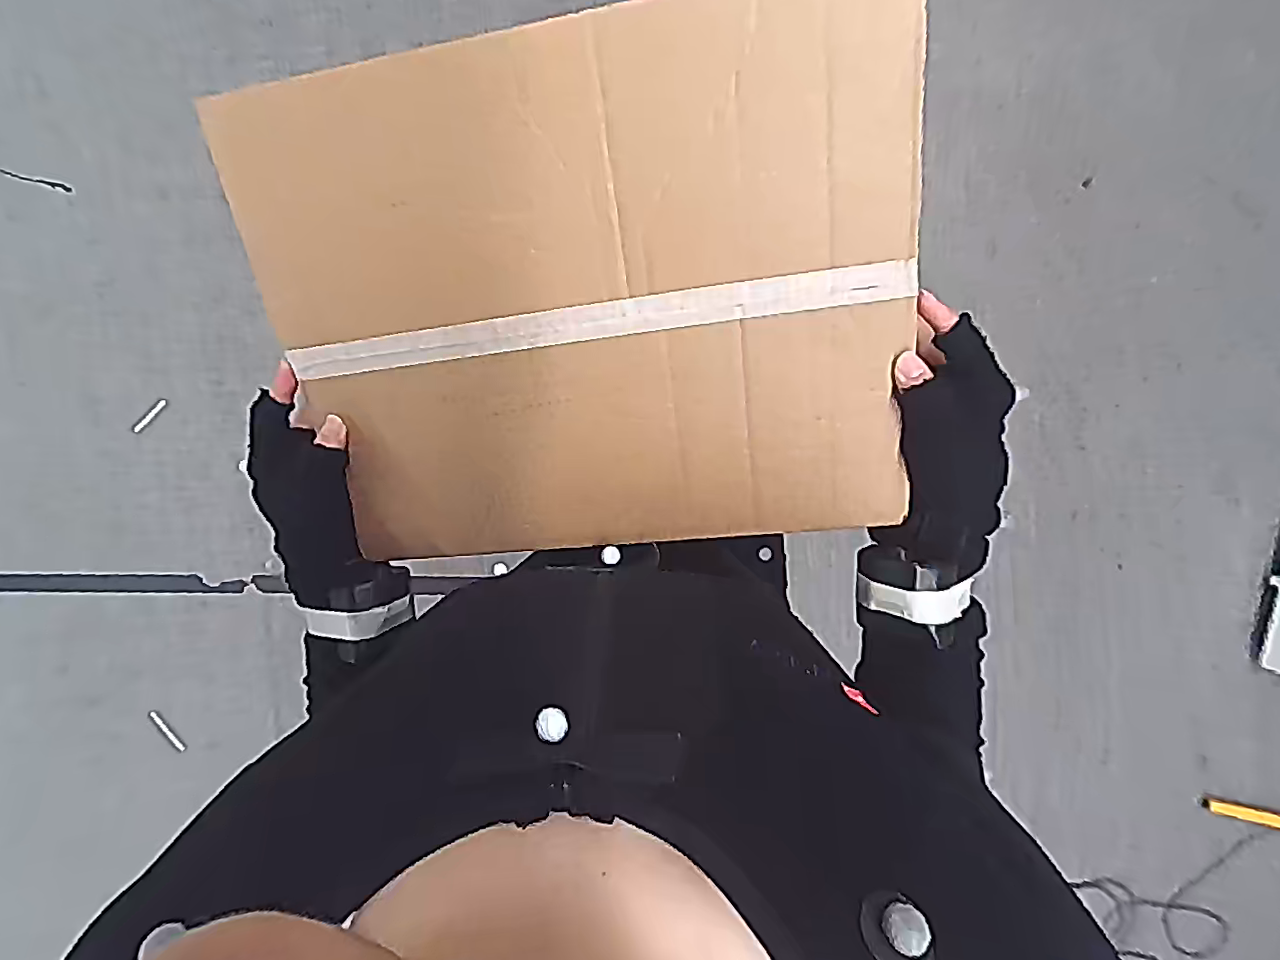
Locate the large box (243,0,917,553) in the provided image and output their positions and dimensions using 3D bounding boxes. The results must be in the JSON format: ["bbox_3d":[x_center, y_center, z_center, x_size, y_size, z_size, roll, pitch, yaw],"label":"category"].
[{"bbox_3d":[-0.018,-0.154,0.491,0.408,0.320,0.320,-5,111,9],"label":"large box"}]
